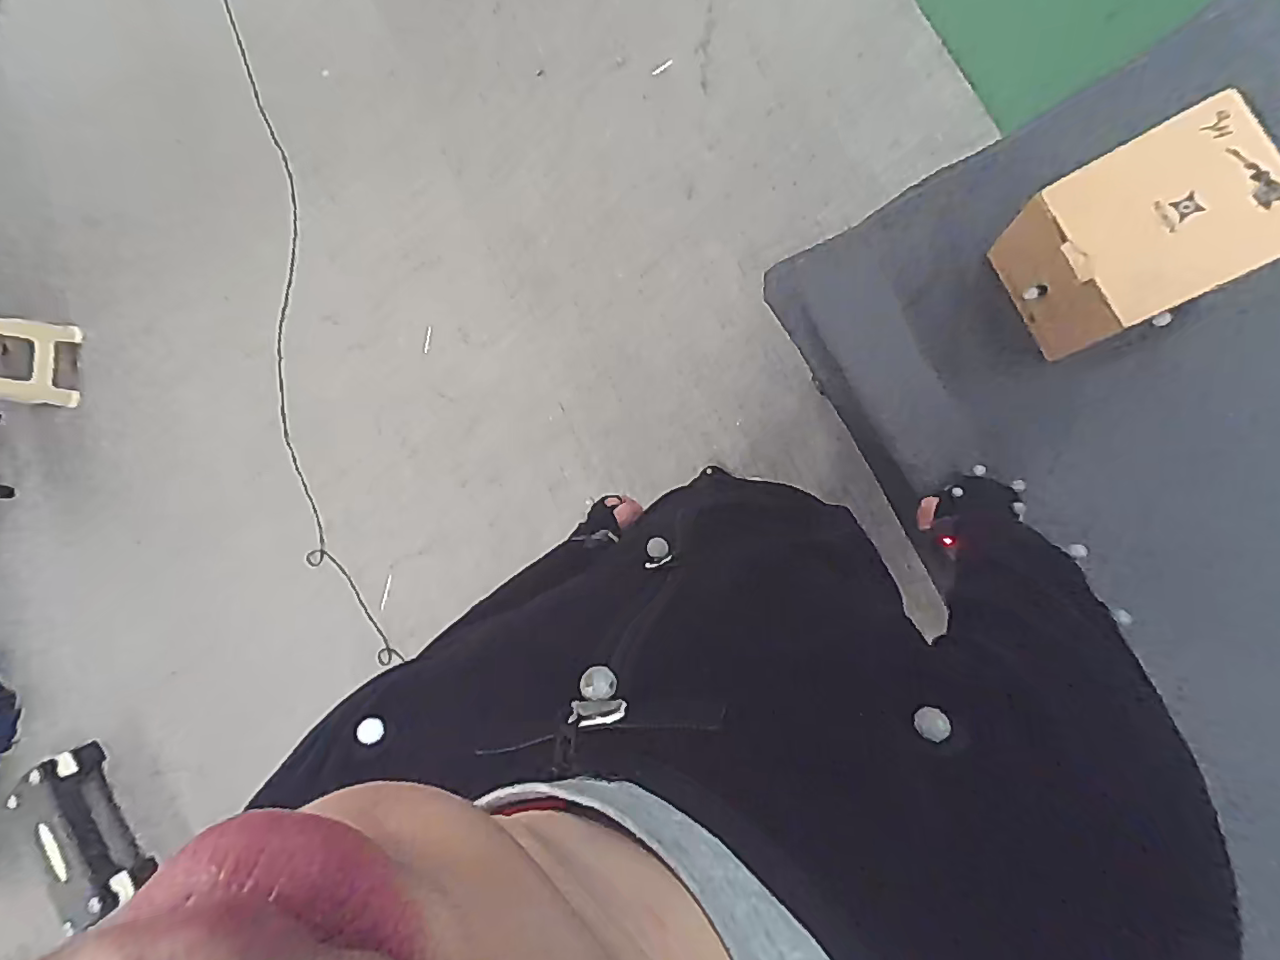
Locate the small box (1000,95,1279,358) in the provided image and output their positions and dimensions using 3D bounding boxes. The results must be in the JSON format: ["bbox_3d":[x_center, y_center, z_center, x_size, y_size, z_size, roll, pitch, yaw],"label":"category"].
[{"bbox_3d":[0.536,-0.256,0.599,0.179,0.176,0.168,-26,83,16],"label":"small box"}]
